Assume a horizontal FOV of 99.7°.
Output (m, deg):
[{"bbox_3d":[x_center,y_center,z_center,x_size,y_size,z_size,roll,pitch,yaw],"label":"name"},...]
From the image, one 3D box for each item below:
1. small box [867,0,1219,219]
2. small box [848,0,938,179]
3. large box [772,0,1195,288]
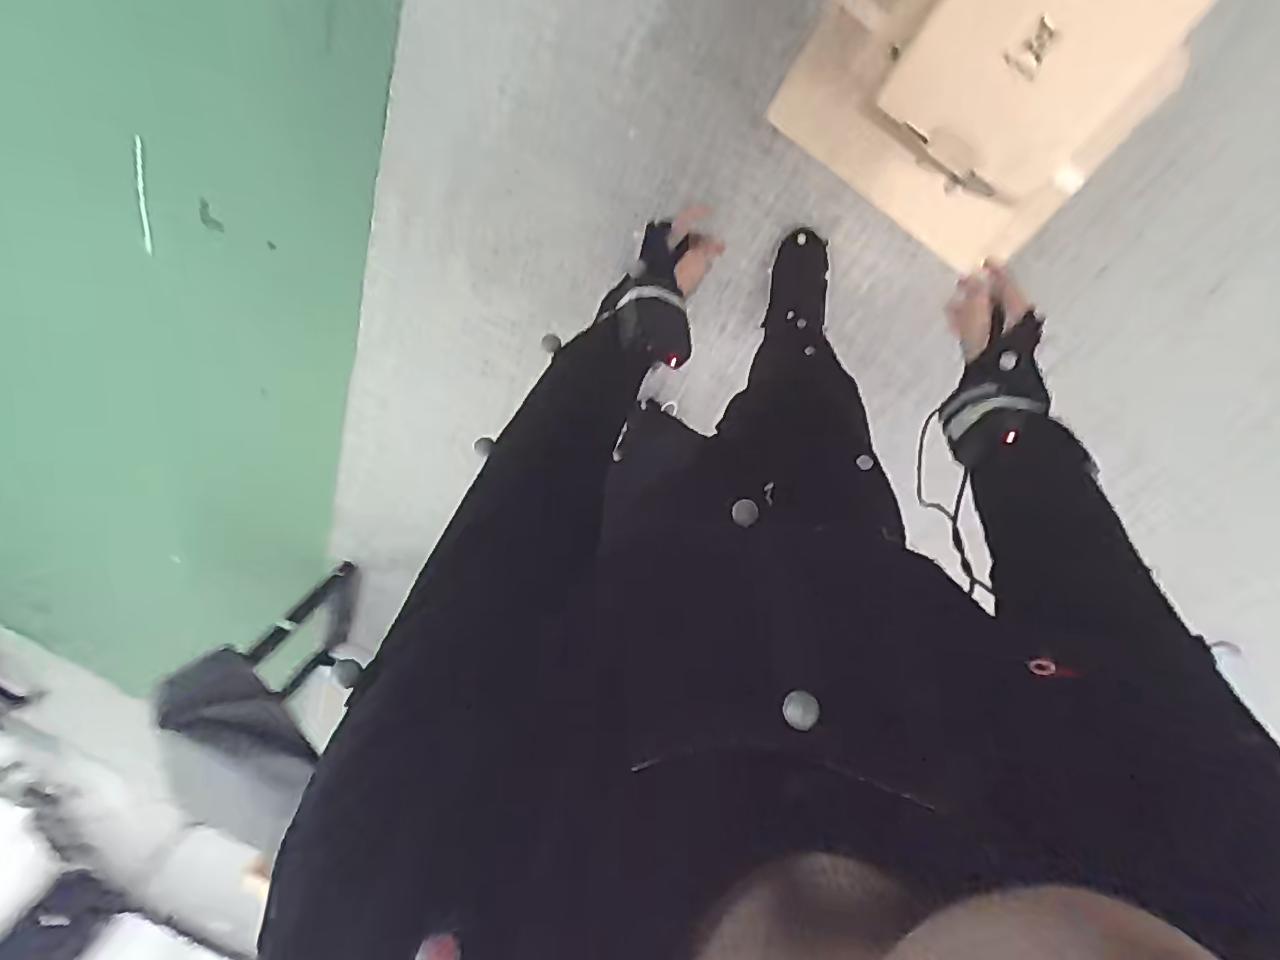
[{"bbox_3d":[0.333,-0.374,0.498,0.168,0.176,0.179,32,123,-6],"label":"small box"},{"bbox_3d":[0.363,-0.472,0.625,0.179,0.176,0.168,39,123,-9],"label":"small box"},{"bbox_3d":[0.459,-0.569,0.831,0.408,0.320,0.320,34,125,-6],"label":"large box"}]
